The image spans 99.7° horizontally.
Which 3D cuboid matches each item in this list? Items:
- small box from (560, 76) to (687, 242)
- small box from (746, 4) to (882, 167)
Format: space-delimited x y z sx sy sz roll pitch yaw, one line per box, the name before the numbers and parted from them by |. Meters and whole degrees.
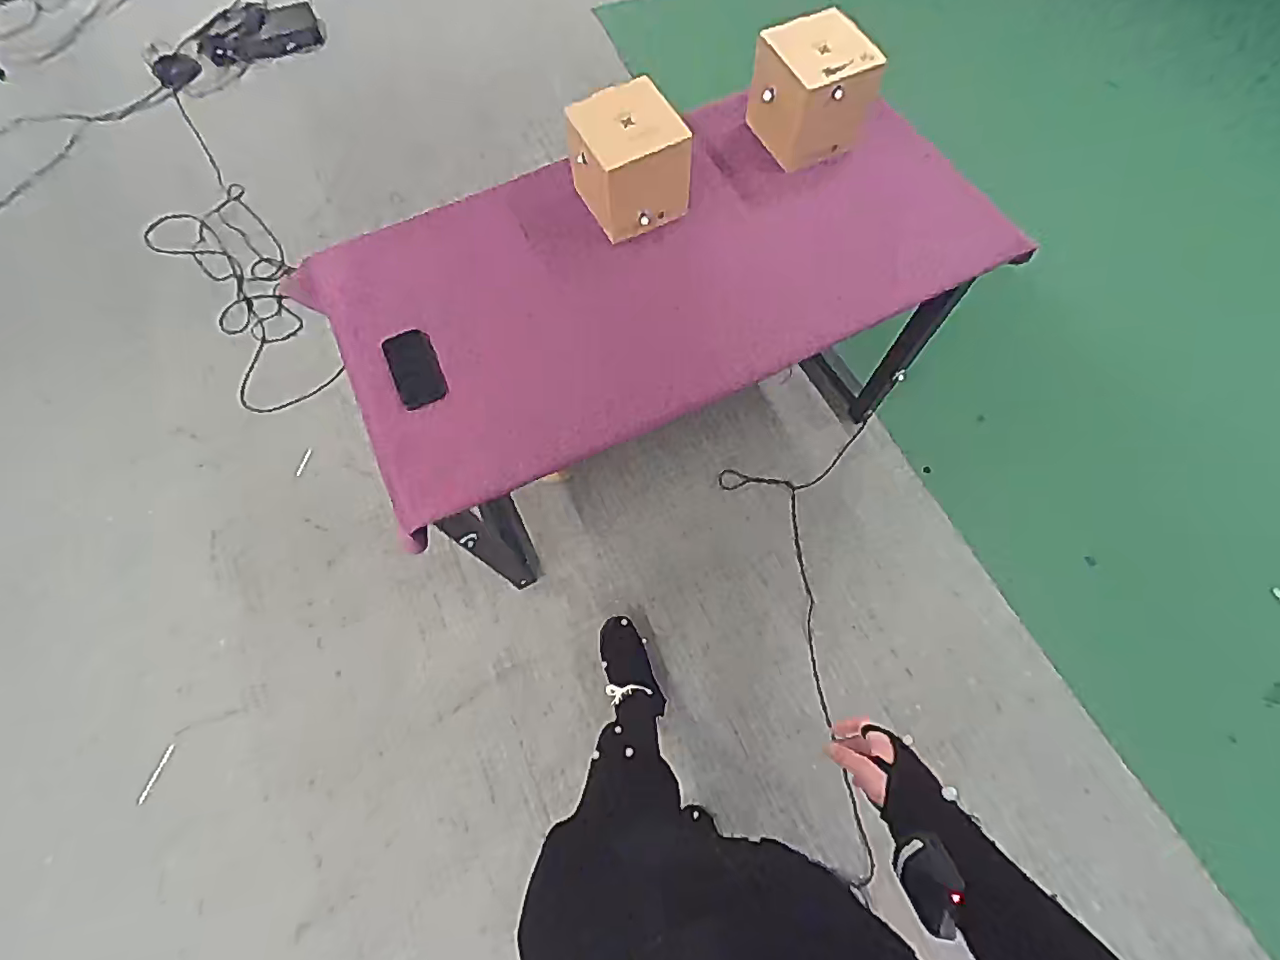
small box | -0.028 -0.581 0.991 0.168 0.176 0.179 -27 71 -7
small box | 0.319 -0.750 1.038 0.168 0.176 0.179 -25 70 -6
